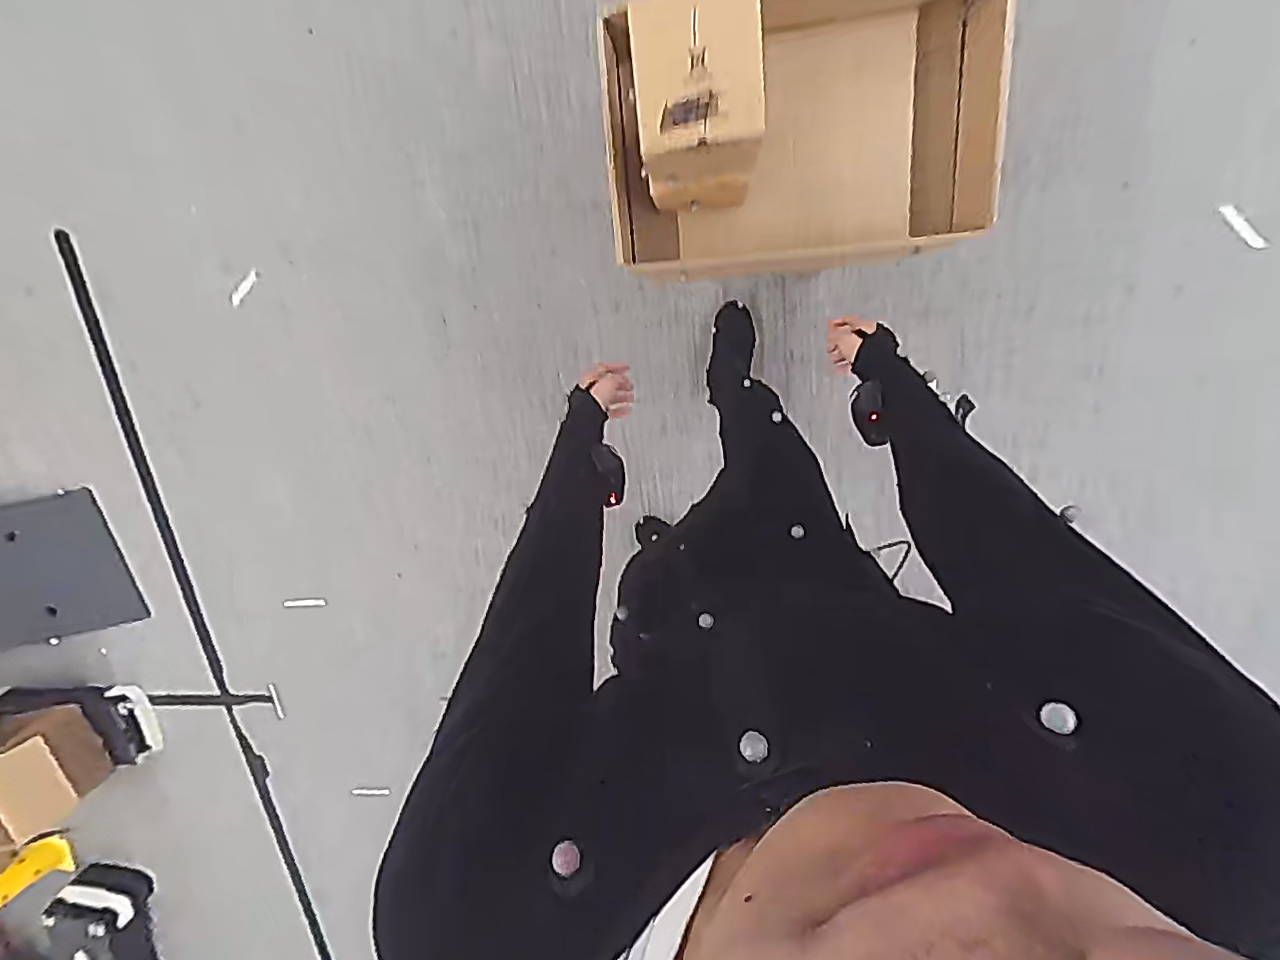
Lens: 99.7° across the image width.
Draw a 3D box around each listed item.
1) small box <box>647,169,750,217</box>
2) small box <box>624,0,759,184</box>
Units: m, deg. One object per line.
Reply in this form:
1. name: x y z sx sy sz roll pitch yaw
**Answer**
1. small box: 0.094 -0.569 0.924 0.168 0.176 0.179 -4 106 8
2. small box: 0.077 -0.536 0.764 0.168 0.176 0.179 -4 105 8
